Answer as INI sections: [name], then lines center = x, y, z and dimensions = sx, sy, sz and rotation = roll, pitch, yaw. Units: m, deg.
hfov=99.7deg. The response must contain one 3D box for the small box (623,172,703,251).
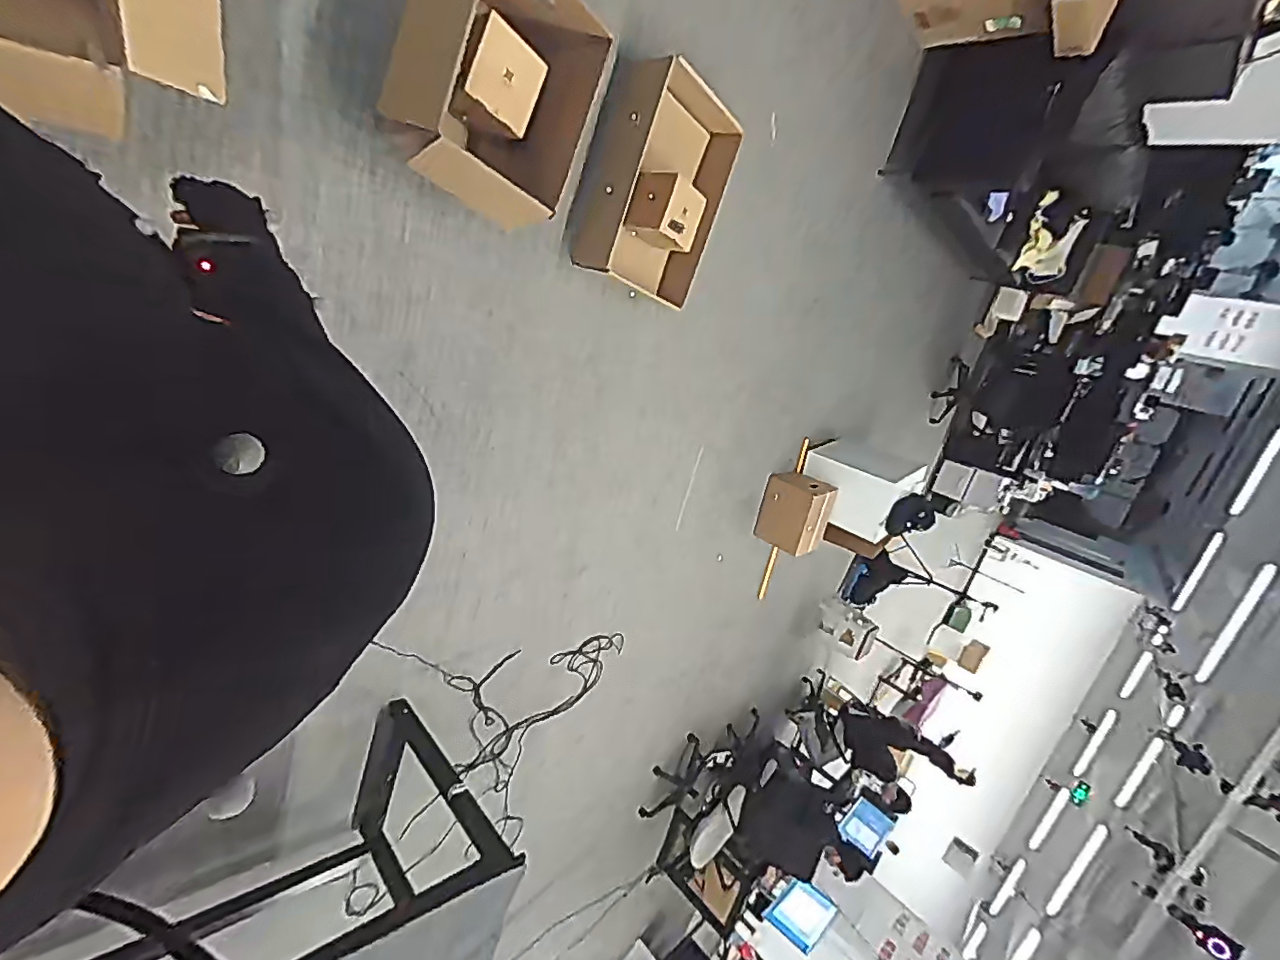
[small box]
center = 0.070, -0.868, 1.751
dimensions = 0.168, 0.176, 0.179
rotation = 10, 102, -51
